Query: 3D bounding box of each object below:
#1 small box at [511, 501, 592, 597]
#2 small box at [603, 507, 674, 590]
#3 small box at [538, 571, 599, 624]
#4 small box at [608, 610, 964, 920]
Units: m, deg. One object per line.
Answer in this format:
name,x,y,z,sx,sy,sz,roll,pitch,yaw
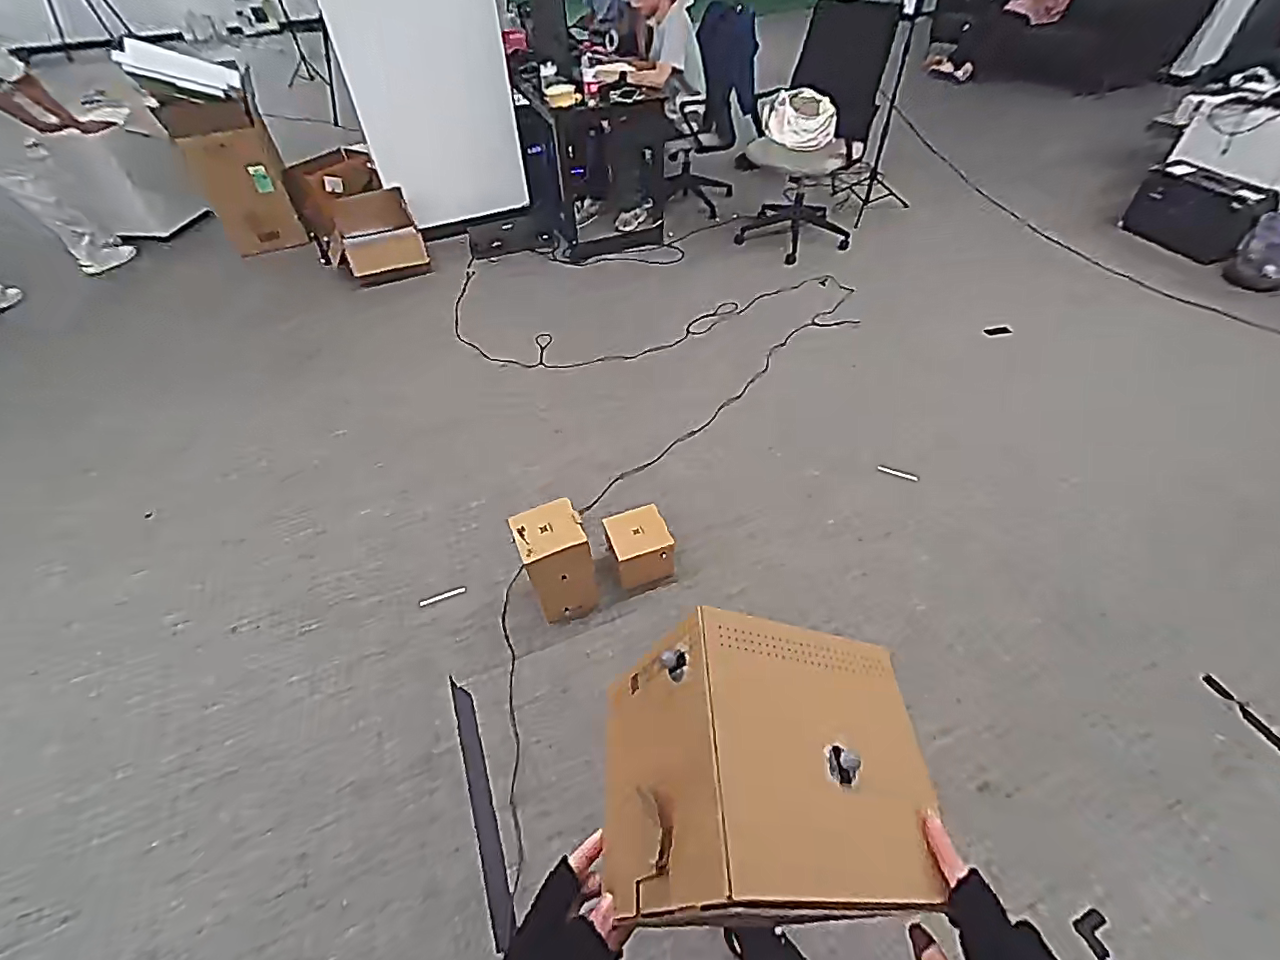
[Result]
small box,-0.237,0.191,1.482,0.179,0.176,0.168,-19,50,-13
small box,-0.002,0.216,1.670,0.179,0.176,0.168,-16,50,-13
small box,-0.231,0.296,1.607,0.168,0.176,0.179,-19,51,-12
small box,0.086,0.216,0.409,0.179,0.168,0.176,16,45,-20
